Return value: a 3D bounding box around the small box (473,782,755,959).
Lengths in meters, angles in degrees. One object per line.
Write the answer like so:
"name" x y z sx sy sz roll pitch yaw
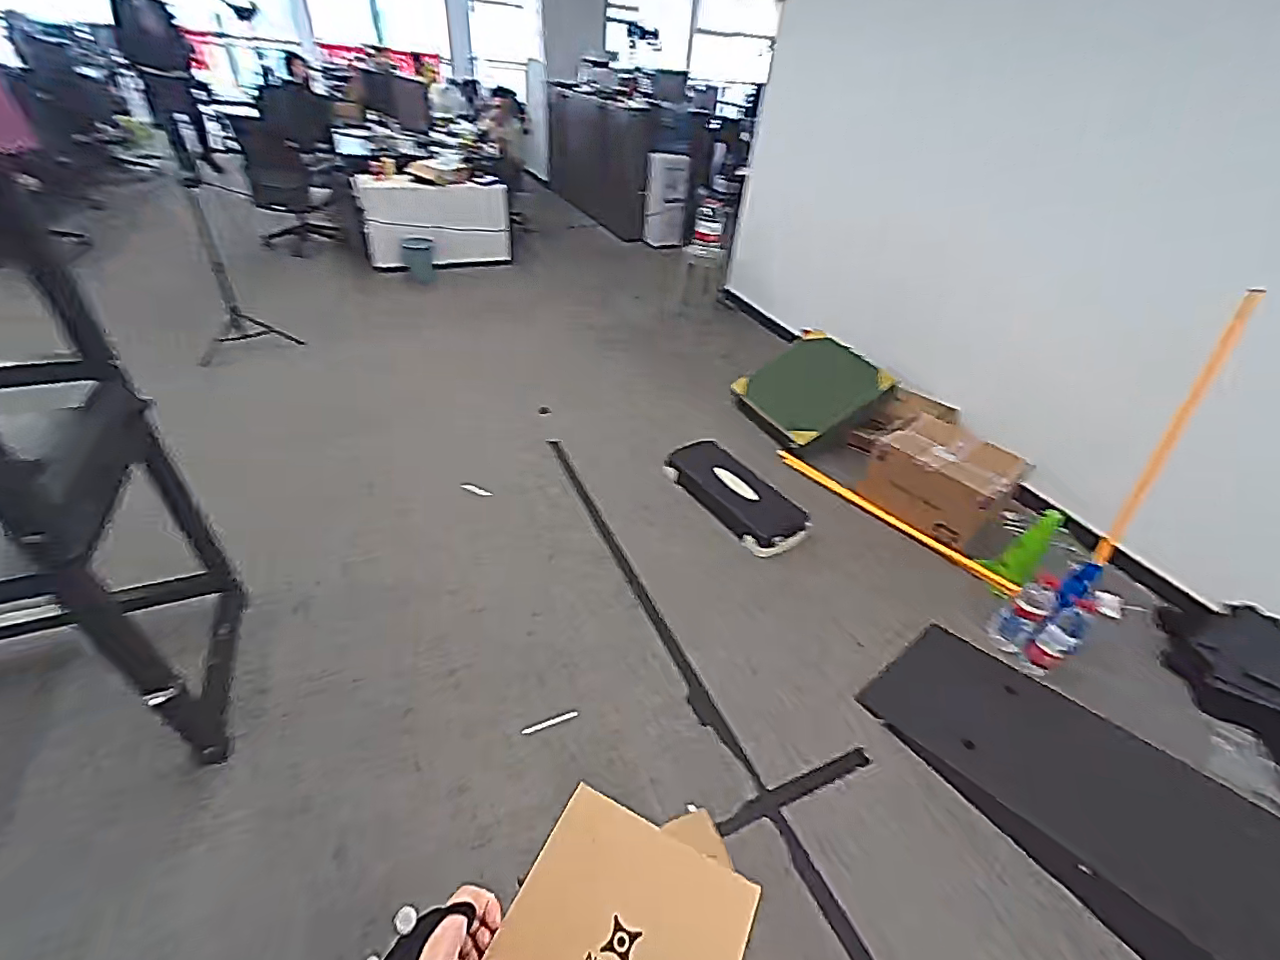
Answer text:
"small box" -0.025 0.391 0.430 0.168 0.176 0.179 19 45 19

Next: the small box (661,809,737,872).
"small box" 0.081 0.789 1.055 0.179 0.176 0.168 -10 42 -21
